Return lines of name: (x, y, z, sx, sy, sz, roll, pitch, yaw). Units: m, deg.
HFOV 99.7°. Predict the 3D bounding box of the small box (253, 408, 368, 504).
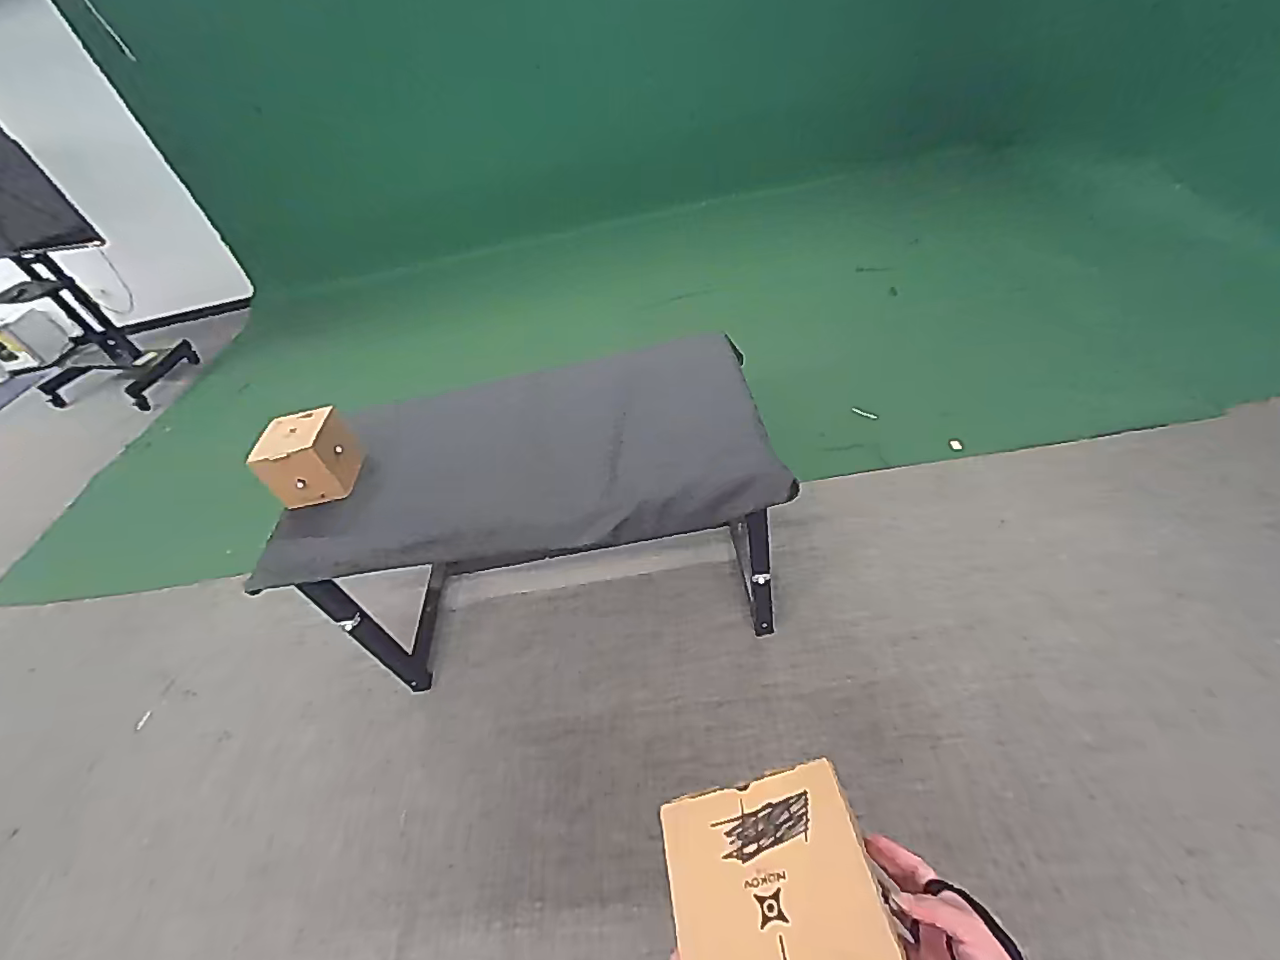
small box: (-0.831, -0.054, 1.386, 0.168, 0.176, 0.179, -11, 44, 2)
